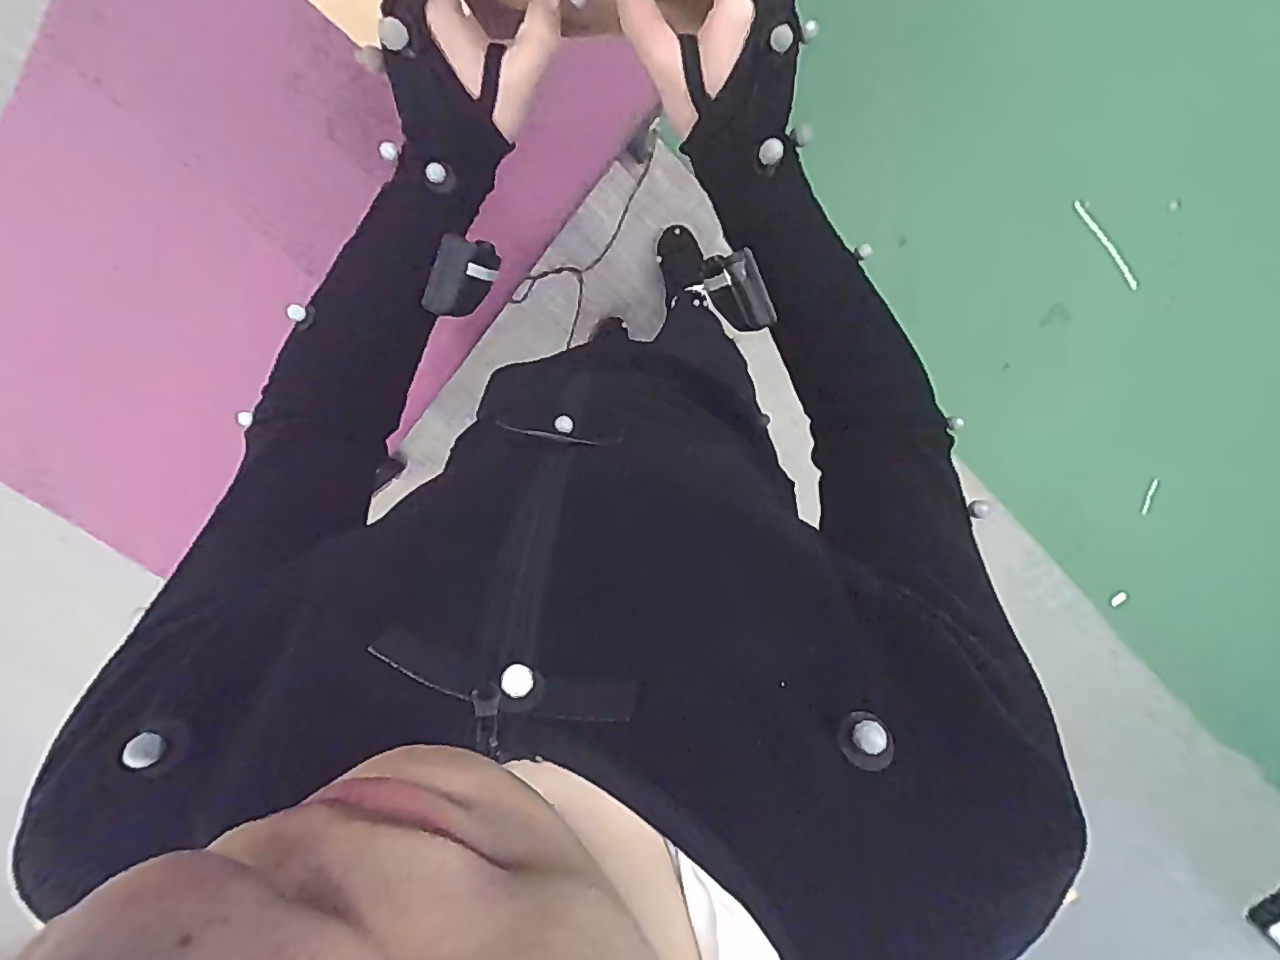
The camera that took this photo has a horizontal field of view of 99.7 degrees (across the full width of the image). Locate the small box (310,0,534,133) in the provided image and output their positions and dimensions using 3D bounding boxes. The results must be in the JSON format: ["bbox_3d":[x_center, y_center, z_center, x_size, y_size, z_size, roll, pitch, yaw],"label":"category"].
[{"bbox_3d":[-0.247,-0.540,0.613,0.179,0.176,0.168,39,105,-12],"label":"small box"}]

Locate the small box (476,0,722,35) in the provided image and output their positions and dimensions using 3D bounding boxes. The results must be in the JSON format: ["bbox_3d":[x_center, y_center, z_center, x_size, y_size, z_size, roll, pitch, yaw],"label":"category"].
[{"bbox_3d":[-0.028,-0.369,0.284,0.168,0.176,0.179,0,108,1],"label":"small box"}]
